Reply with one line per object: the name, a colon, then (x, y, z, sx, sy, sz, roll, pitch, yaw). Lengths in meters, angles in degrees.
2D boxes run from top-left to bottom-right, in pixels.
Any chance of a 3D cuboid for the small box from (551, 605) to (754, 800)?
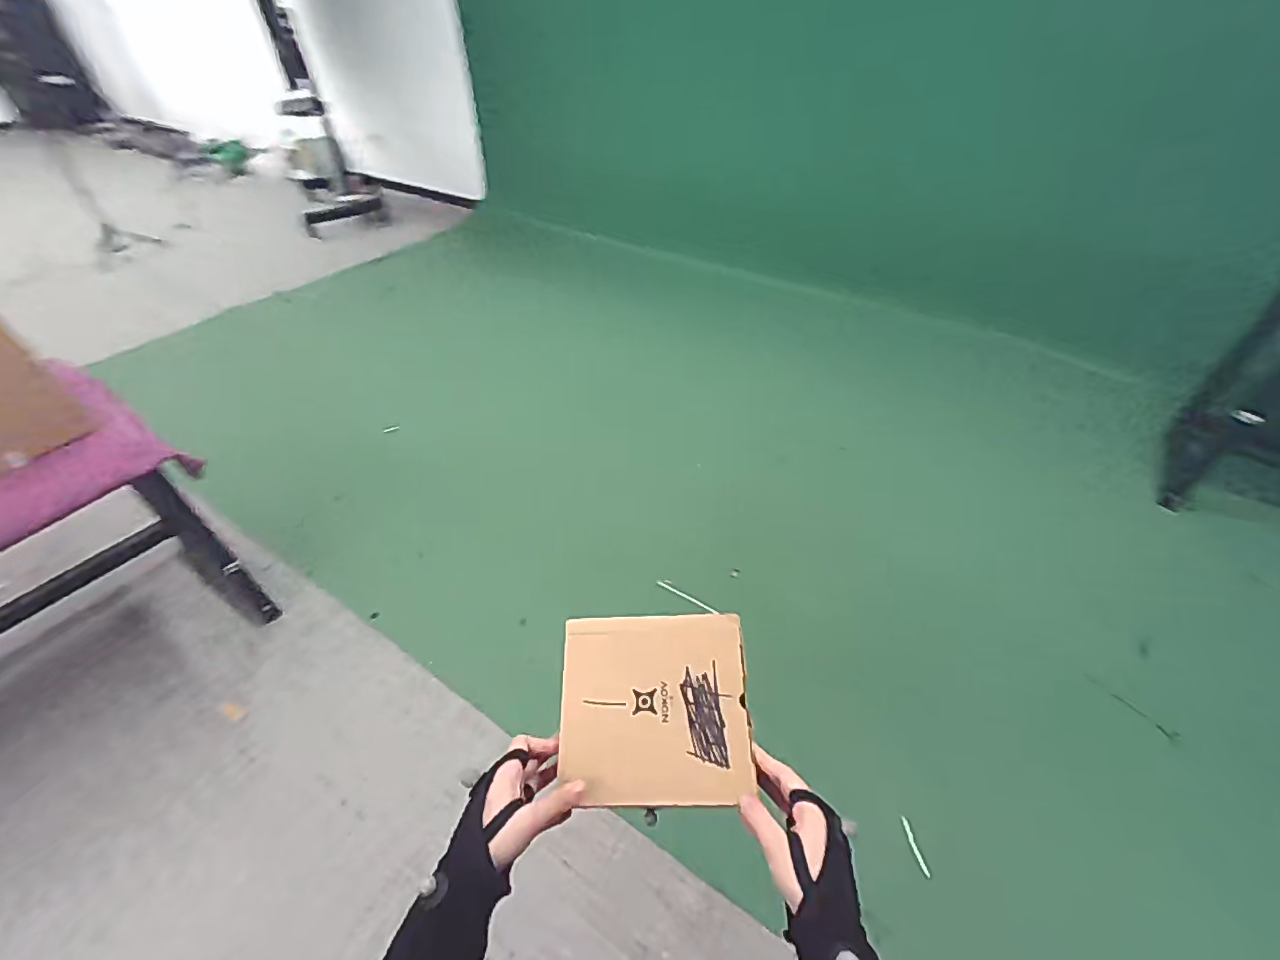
small box: (0.014, 0.238, 0.568, 0.179, 0.176, 0.168, -3, 58, 3)
